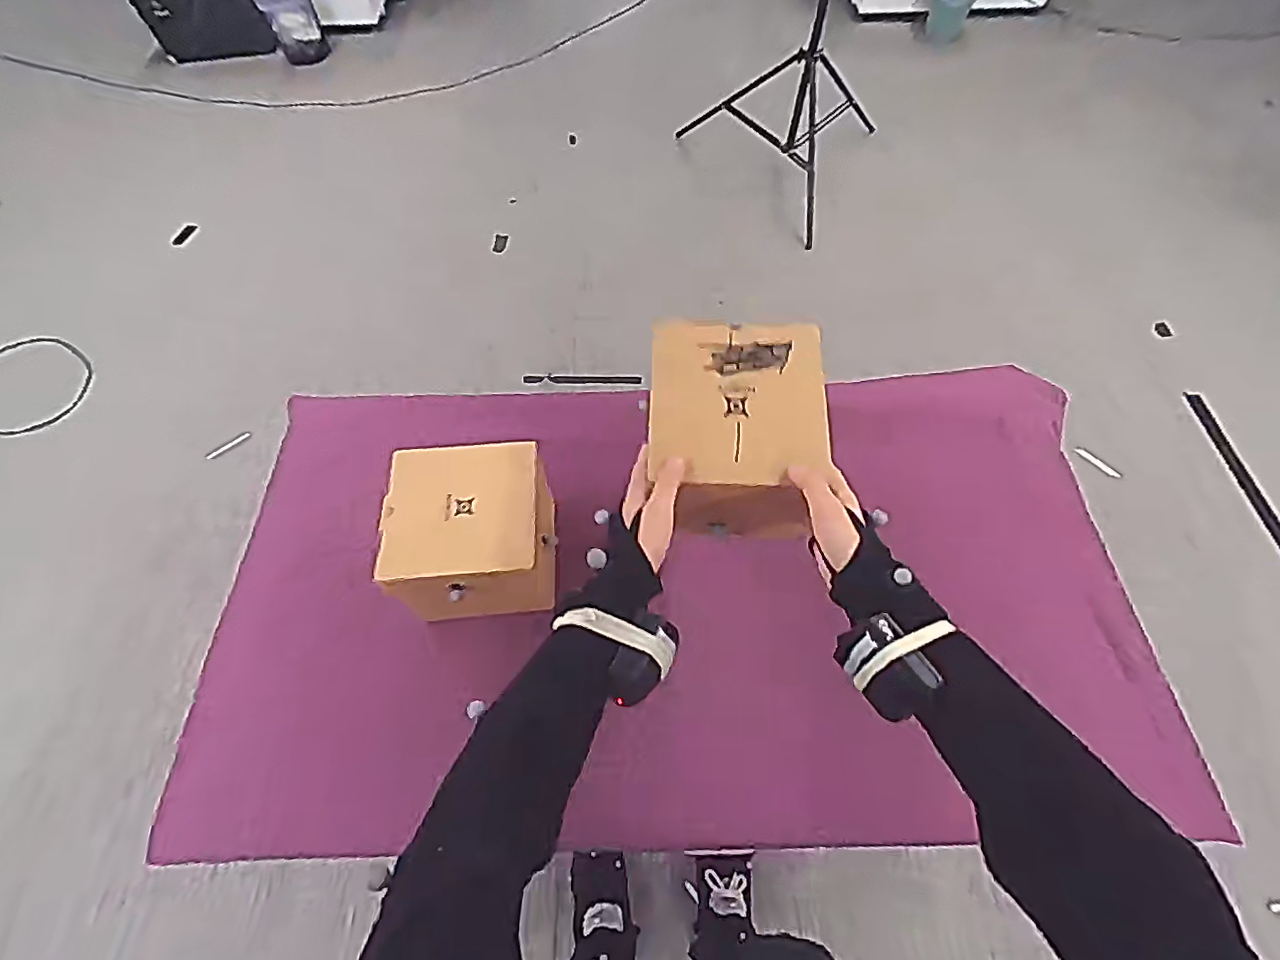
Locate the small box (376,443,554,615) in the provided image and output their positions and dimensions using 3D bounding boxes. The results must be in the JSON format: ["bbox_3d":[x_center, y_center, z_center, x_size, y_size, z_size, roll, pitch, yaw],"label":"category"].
[{"bbox_3d":[-0.206,0.069,0.695,0.179,0.176,0.168,-5,62,-2],"label":"small box"}]

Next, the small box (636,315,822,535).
[{"bbox_3d":[0.083,-0.050,0.576,0.168,0.176,0.179,2,69,3],"label":"small box"}]
